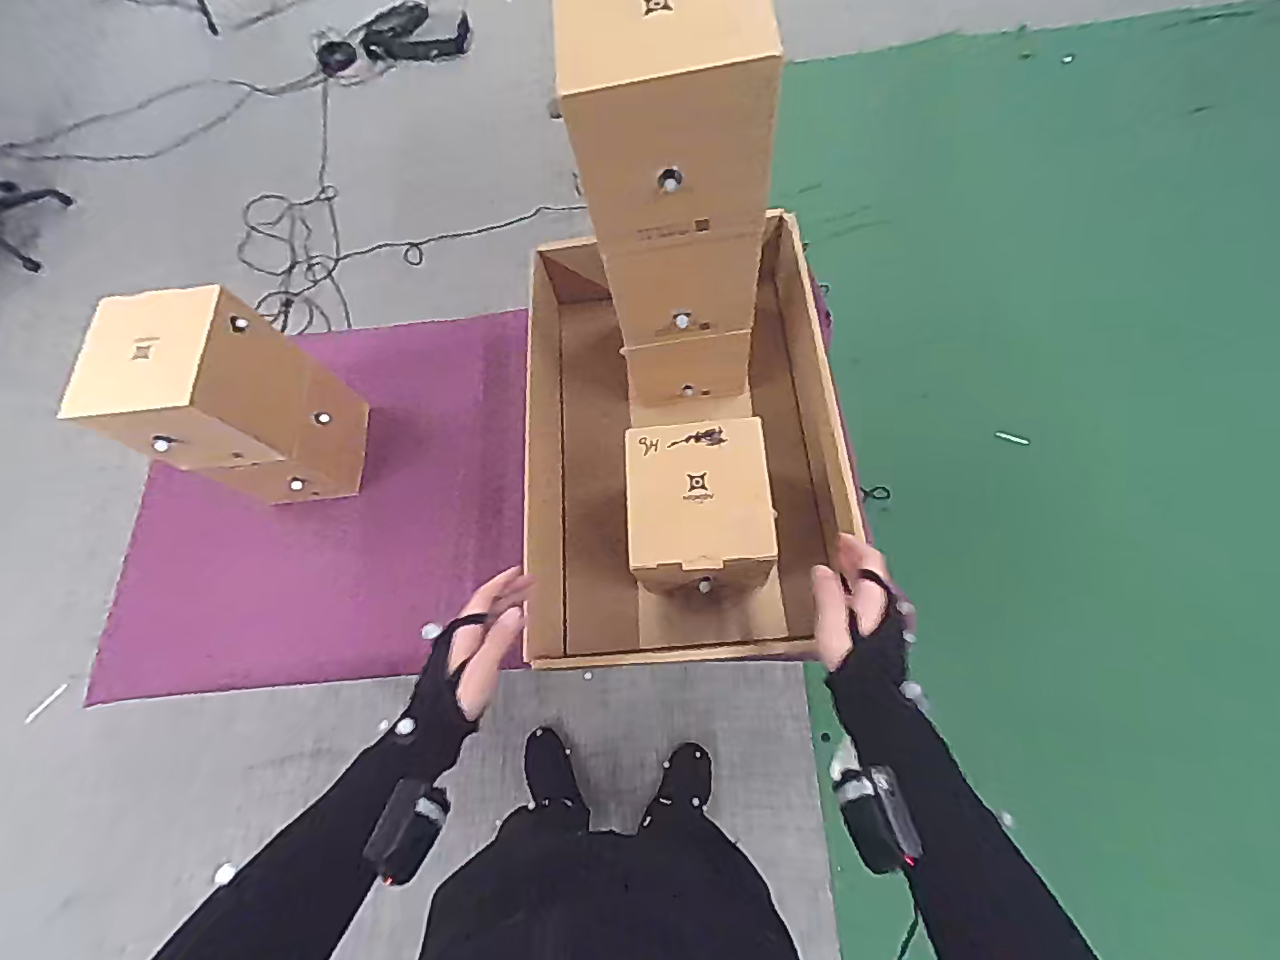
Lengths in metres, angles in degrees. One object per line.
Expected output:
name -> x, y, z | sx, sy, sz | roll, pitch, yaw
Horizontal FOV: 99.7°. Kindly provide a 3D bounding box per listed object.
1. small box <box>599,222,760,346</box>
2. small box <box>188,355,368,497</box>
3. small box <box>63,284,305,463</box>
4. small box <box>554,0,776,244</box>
small box -> 0.043, -0.288, 0.648 | 0.168, 0.176, 0.179 | -7, 71, 6
small box -> -0.570, -0.077, 0.878 | 0.168, 0.176, 0.179 | -5, 69, 4
small box -> -0.588, -0.130, 0.726 | 0.168, 0.176, 0.179 | -5, 68, 4
small box -> 0.024, -0.339, 0.492 | 0.168, 0.176, 0.179 | -6, 70, 5
